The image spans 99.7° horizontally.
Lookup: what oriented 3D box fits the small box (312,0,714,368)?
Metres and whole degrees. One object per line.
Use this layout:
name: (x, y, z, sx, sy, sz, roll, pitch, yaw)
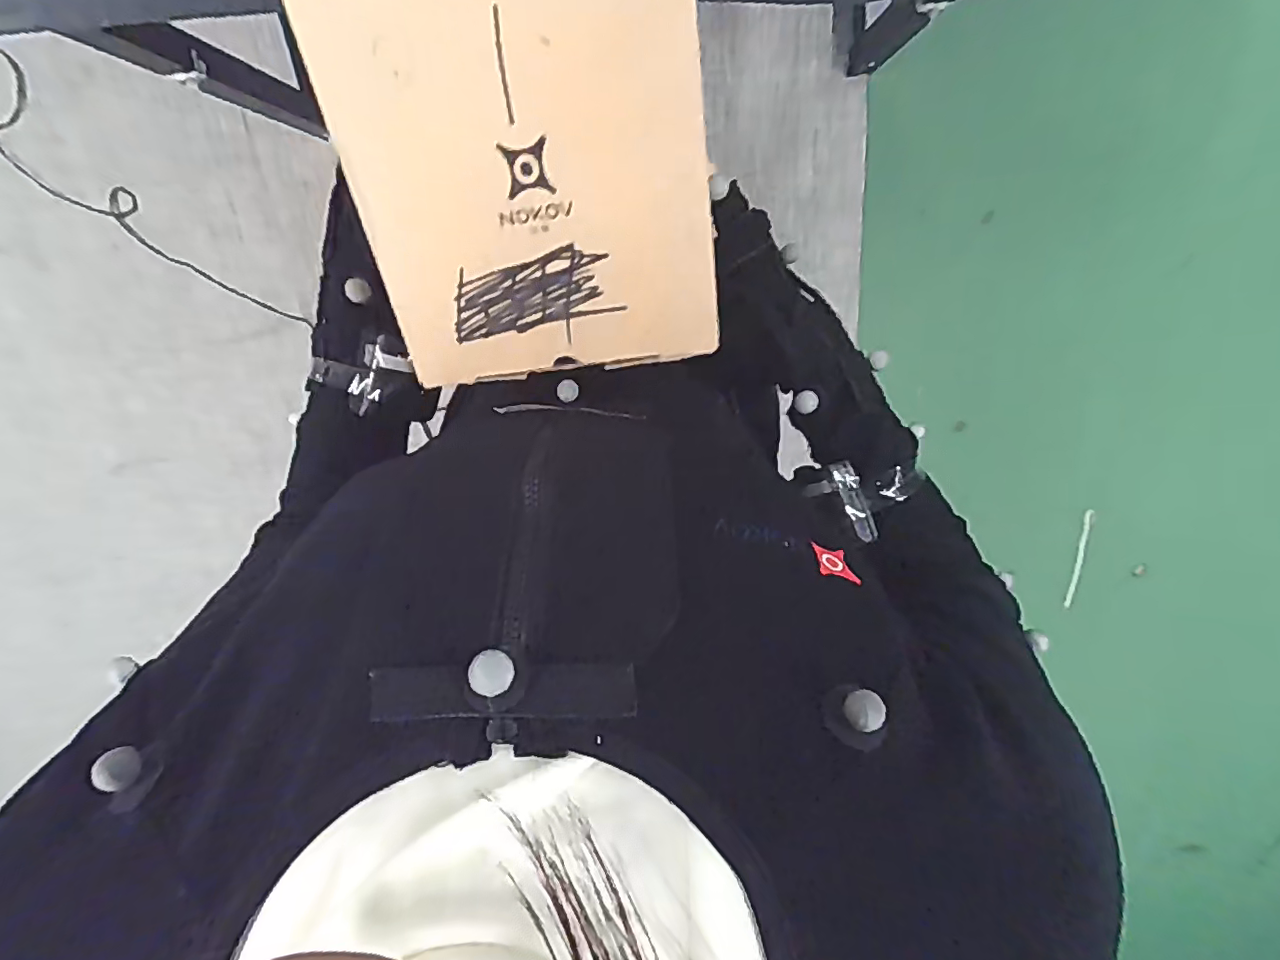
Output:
small box: (-0.044, -0.183, 0.324, 0.168, 0.176, 0.179, -5, 120, 5)
